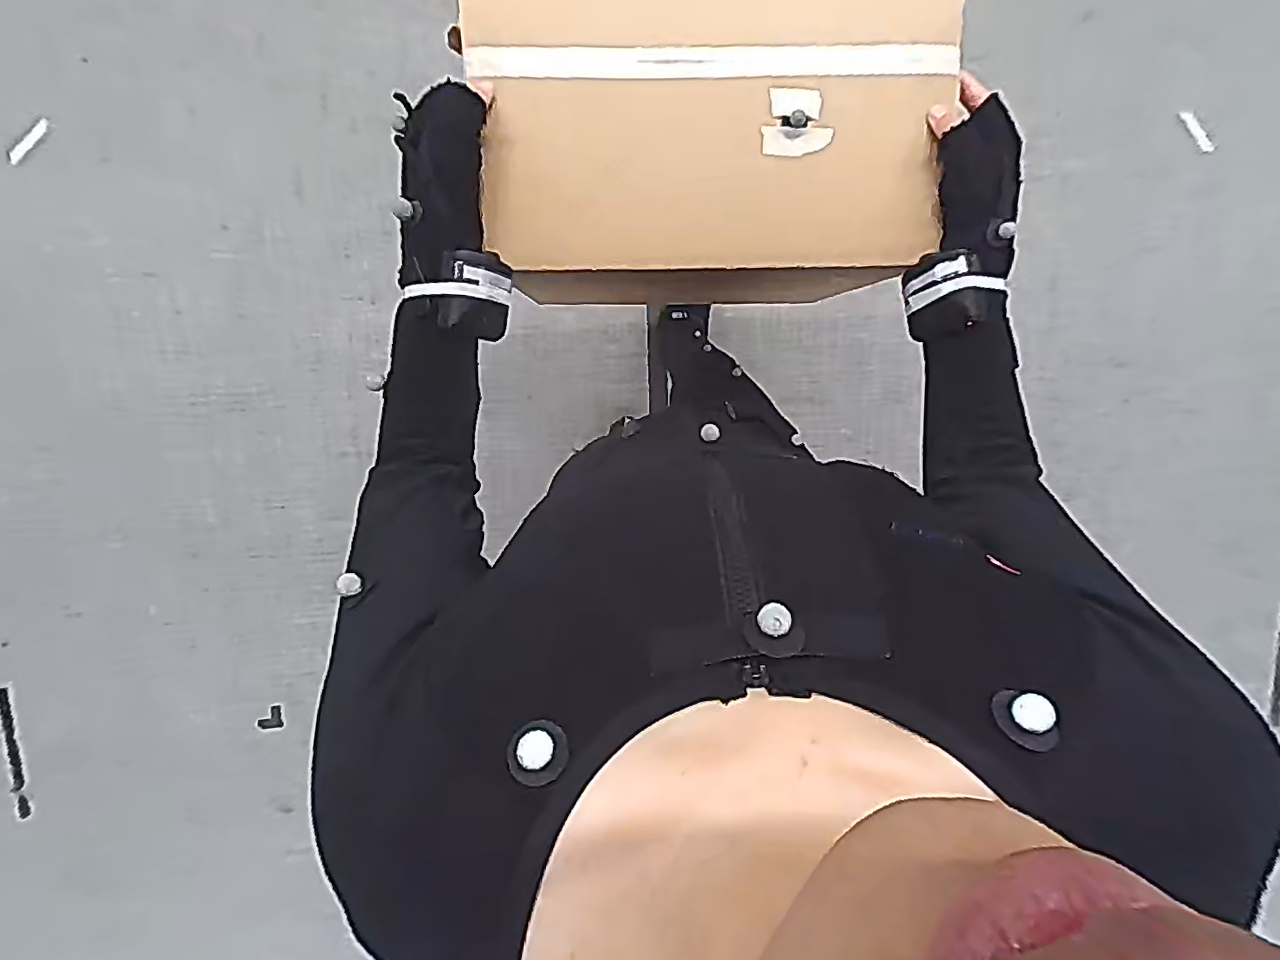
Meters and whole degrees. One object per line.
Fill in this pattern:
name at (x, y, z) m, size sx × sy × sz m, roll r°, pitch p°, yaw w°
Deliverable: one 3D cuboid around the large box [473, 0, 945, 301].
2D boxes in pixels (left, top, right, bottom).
large box at (0.053, -0.385, 0.608) m, size 0.408 × 0.320 × 0.320 m, roll -2°, pitch 103°, yaw -3°
